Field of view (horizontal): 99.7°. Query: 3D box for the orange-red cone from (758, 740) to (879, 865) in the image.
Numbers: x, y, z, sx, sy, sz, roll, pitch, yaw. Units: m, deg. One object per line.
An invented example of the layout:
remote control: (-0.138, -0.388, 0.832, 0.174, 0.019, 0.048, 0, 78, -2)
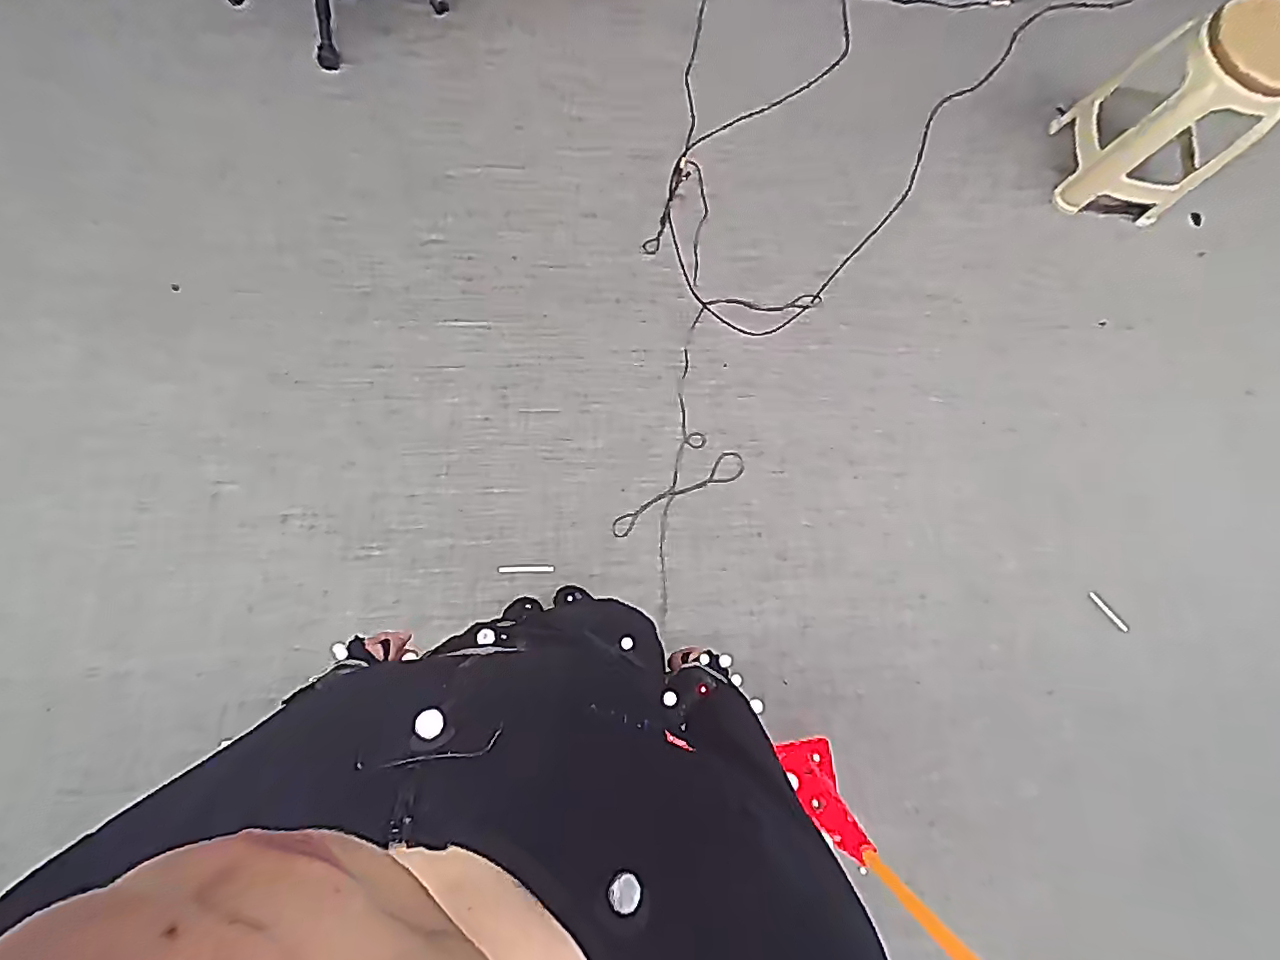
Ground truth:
orange-red cone: (0.409, 0.723, 1.165, 0.199, 0.360, 0.198, -6, 80, -5)
